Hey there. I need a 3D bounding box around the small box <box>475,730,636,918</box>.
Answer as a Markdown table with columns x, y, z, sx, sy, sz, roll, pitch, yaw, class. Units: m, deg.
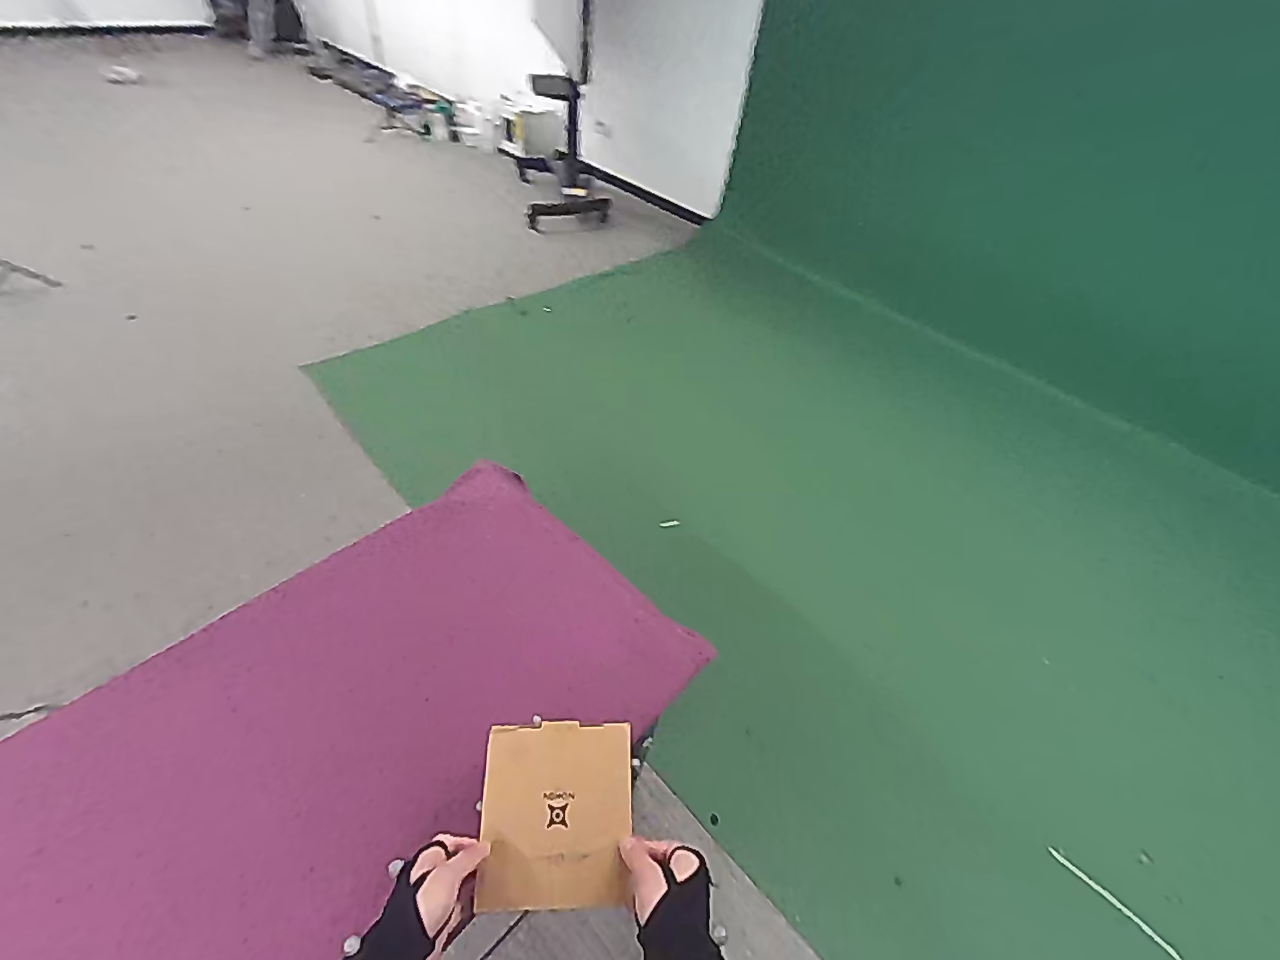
| x | y | z | sx | sy | sz | roll | pitch | yaw | class |
| --- | --- | --- | --- | --- | --- | --- | --- | --- | --- |
| -0.093 | 0.408 | 0.662 | 0.168 | 0.176 | 0.179 | 1 | 62 | -3 | small box |
